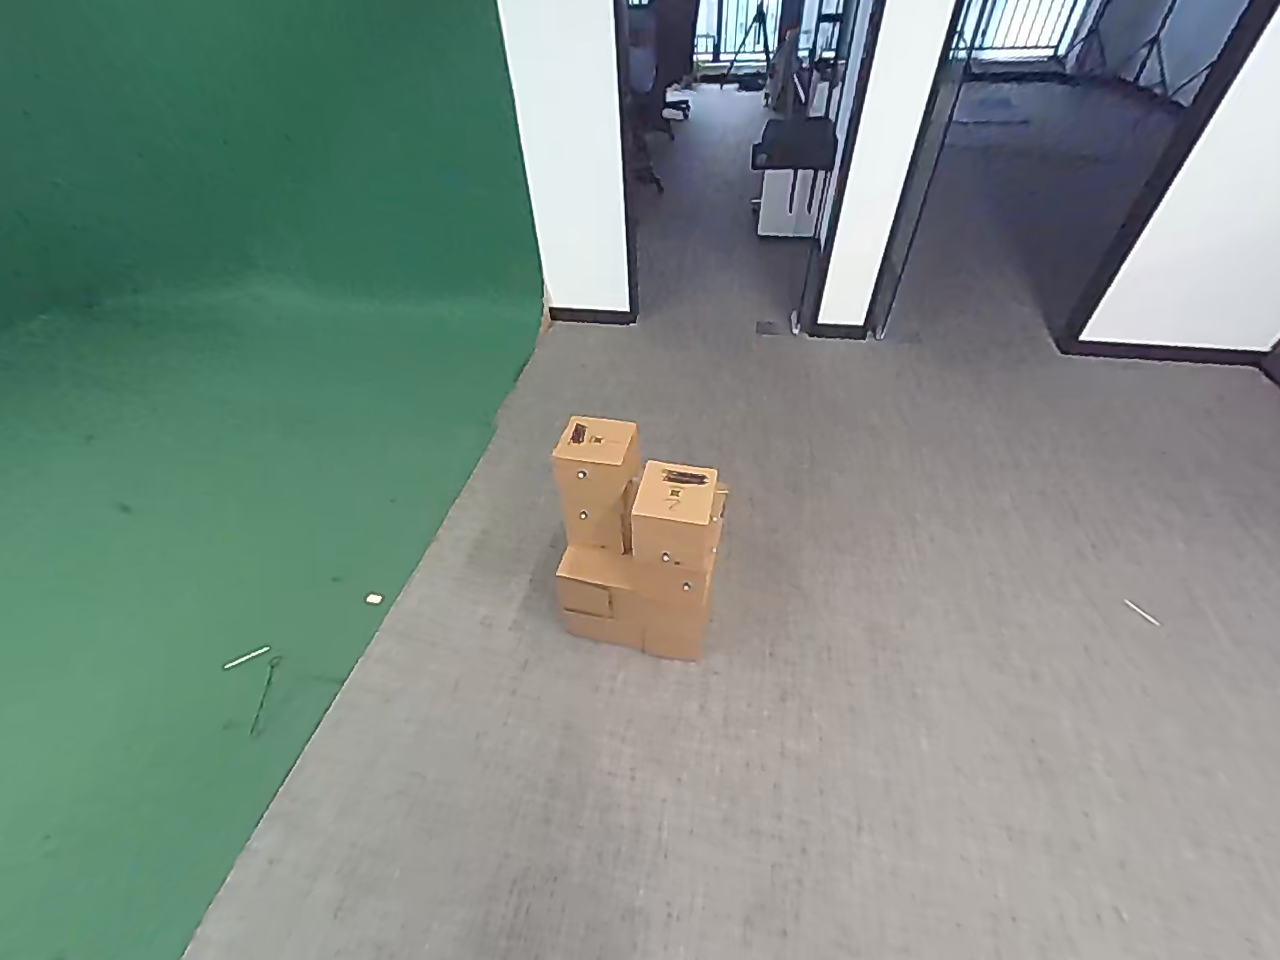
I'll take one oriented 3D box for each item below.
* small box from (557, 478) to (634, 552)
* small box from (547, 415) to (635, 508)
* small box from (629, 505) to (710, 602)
[{"bbox_3d":[-0.116,0.070,1.494,0.168,0.176,0.179,8,44,11],"label":"small box"},{"bbox_3d":[-0.116,-0.046,1.375,0.179,0.176,0.168,7,45,11],"label":"small box"},{"bbox_3d":[0.077,0.188,1.365,0.179,0.176,0.168,7,45,9],"label":"small box"}]
